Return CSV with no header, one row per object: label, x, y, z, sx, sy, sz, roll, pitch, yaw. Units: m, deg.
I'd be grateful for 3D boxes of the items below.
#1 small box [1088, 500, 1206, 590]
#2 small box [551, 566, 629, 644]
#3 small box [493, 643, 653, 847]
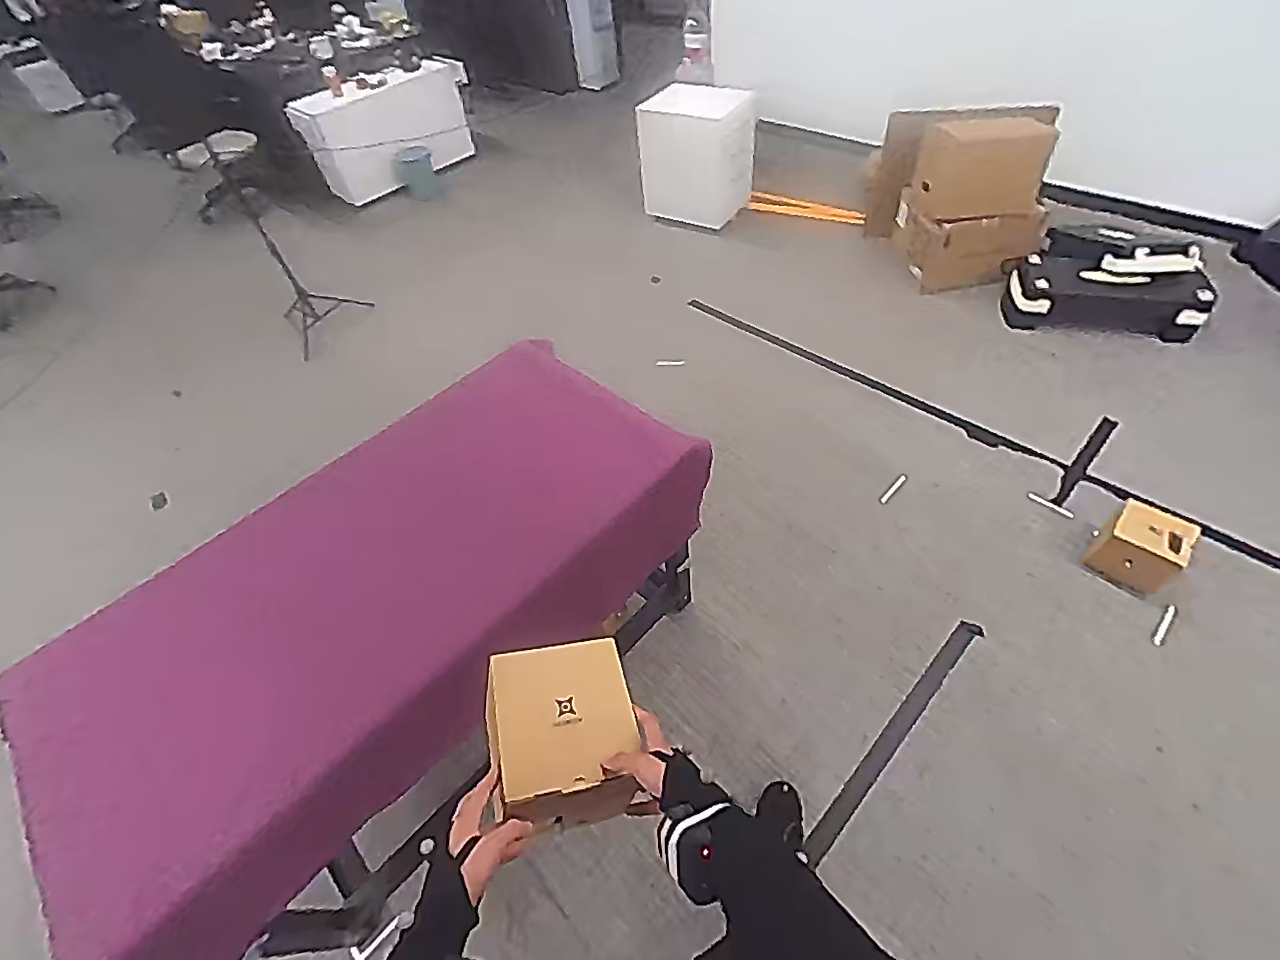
small box,1.482,0.198,1.590,0.179,0.176,0.168,33,63,29
small box,-0.147,0.389,1.656,0.179,0.176,0.168,9,54,15
small box,-0.100,0.341,0.705,0.168,0.176,0.179,-2,45,-20
